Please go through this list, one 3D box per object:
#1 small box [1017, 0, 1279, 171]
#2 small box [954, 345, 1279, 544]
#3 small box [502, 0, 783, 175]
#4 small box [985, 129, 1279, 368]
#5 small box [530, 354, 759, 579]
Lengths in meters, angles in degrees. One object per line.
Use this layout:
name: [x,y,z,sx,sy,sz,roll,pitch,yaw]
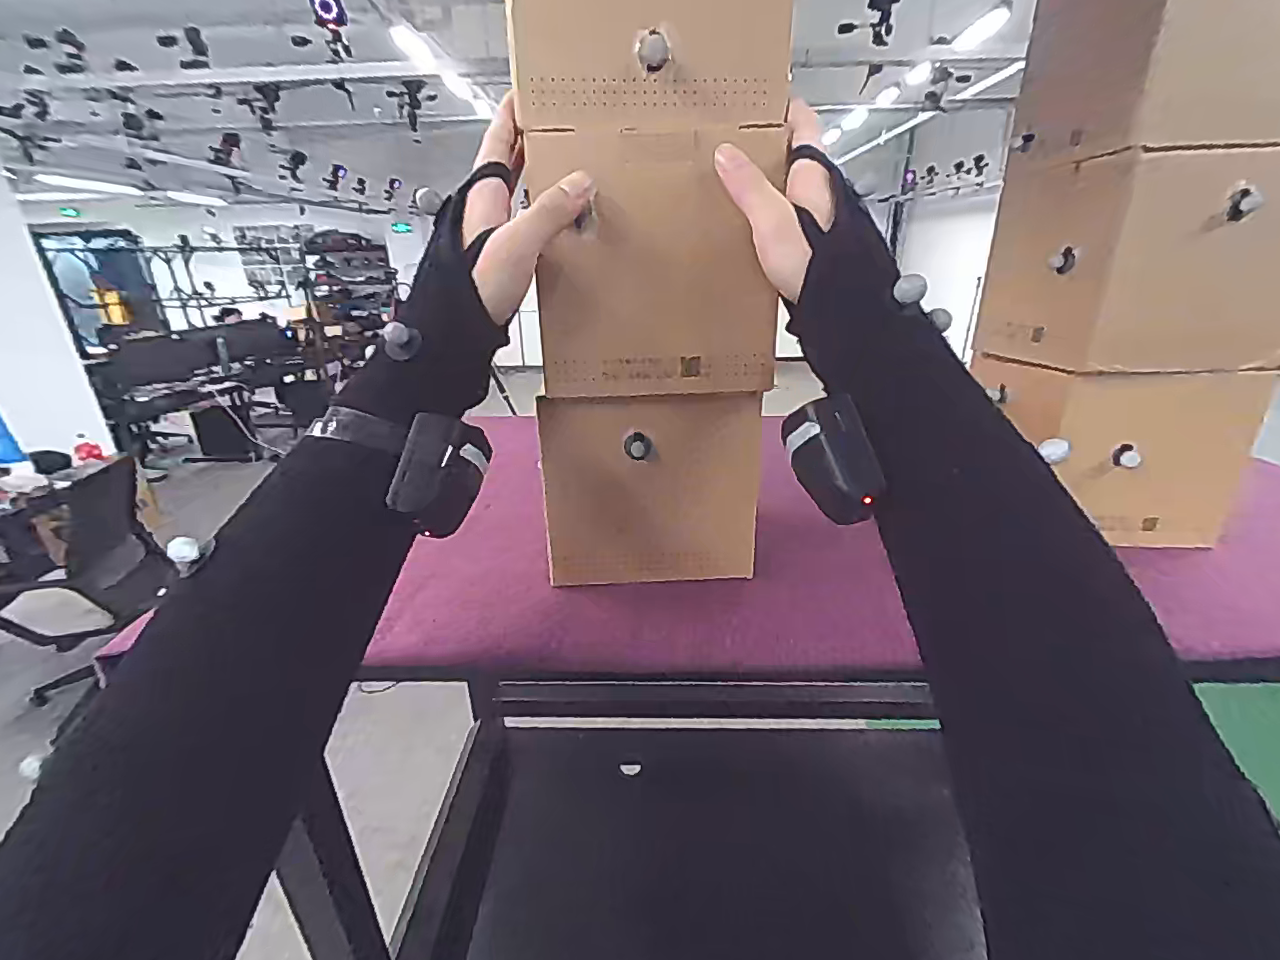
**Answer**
small box: [0.441,-0.351,0.435,0.179,0.176,0.168,0,21,3]
small box: [0.451,-0.044,0.548,0.168,0.176,0.179,0,20,4]
small box: [0.001,-0.327,0.391,0.179,0.176,0.168,-2,20,-3]
small box: [0.442,-0.194,0.484,0.179,0.176,0.168,-1,21,2]
small box: [0.004,-0.018,0.504,0.179,0.176,0.168,-2,22,-2]
